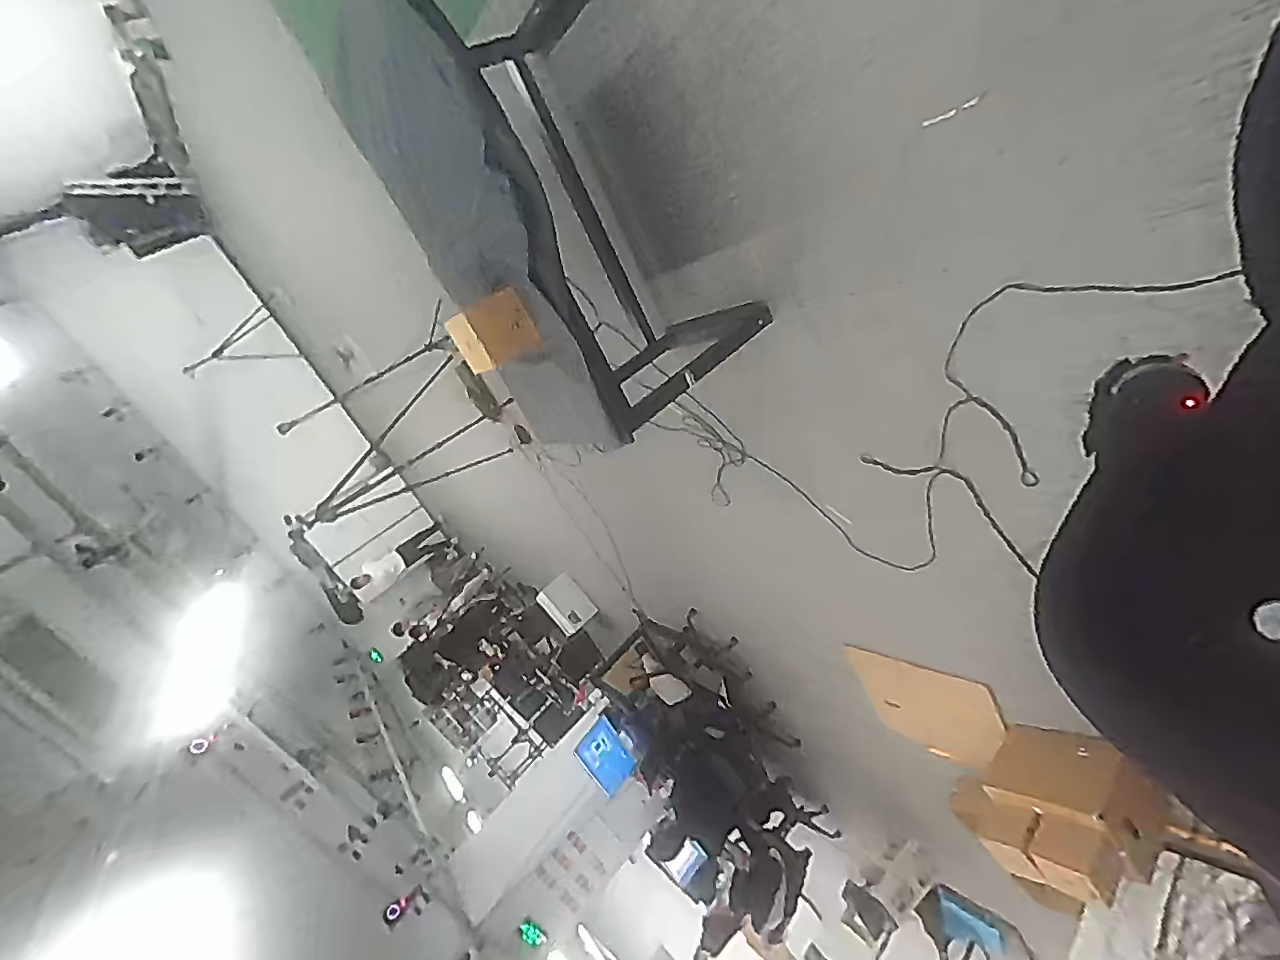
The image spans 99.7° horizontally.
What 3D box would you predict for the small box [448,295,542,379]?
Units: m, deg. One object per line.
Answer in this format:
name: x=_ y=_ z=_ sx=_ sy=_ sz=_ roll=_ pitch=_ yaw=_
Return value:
small box: x=-0.410 y=-0.406 z=1.542 sx=0.179 sy=0.176 sz=0.168 roll=6 pitch=129 yaw=54
